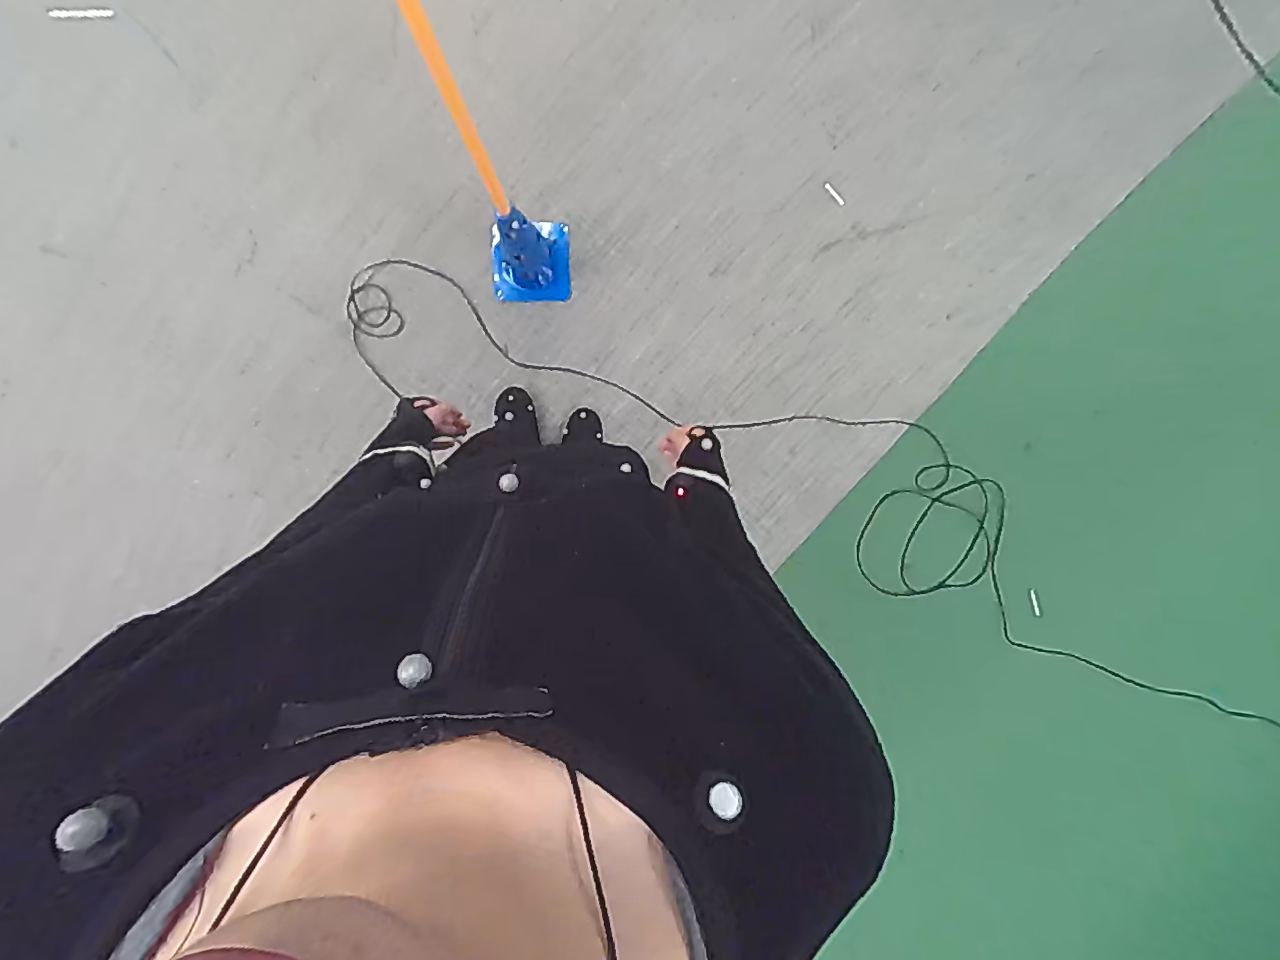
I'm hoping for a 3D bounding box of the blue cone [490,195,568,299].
[{"bbox_3d":[-0.277,-0.550,1.232,0.192,0.380,0.193,-3,95,-3],"label":"blue cone"}]
